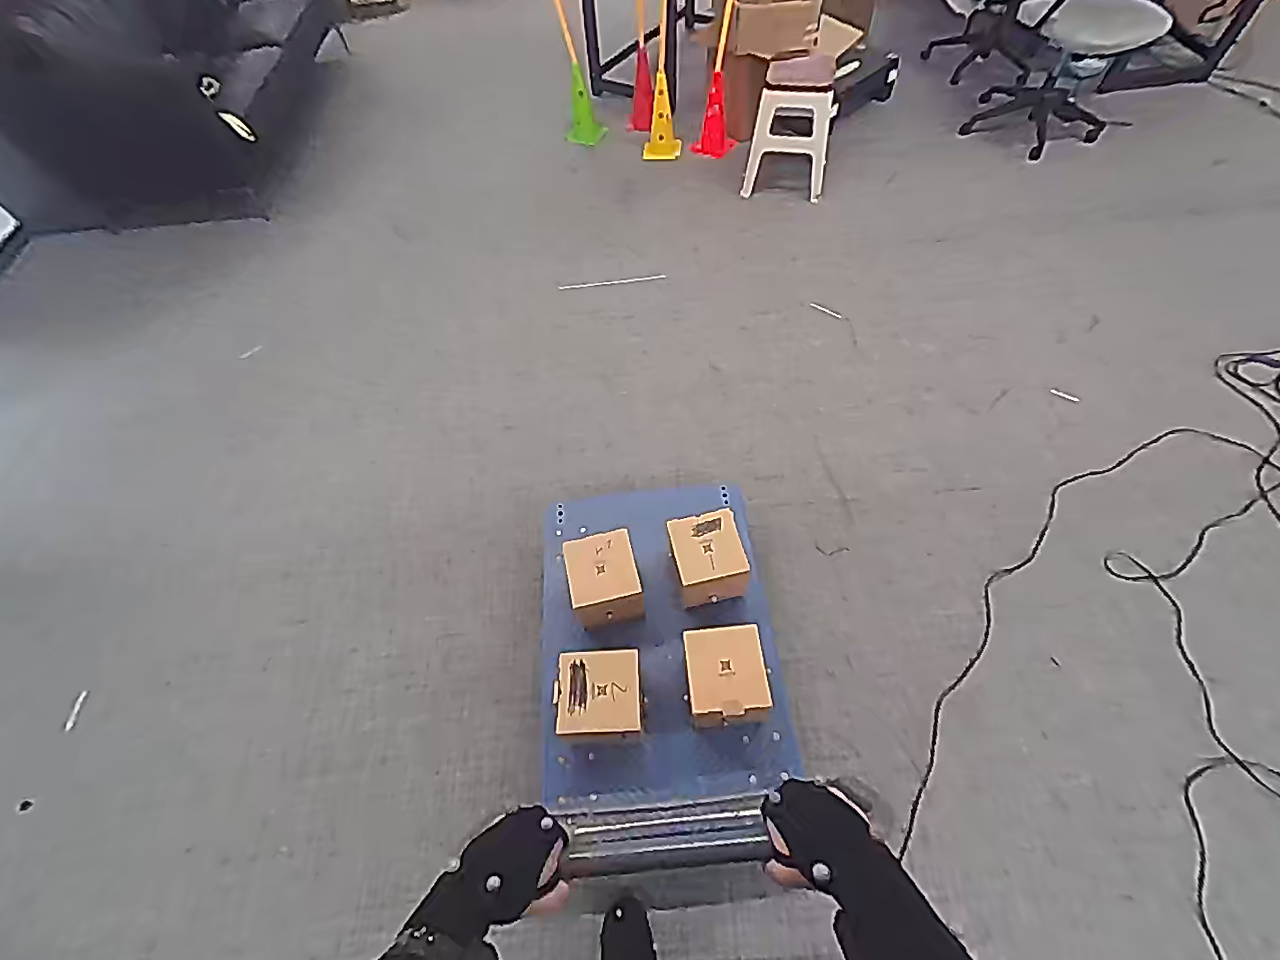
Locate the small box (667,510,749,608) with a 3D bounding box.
[{"bbox_3d":[0.165,0.202,1.373,0.168,0.176,0.179,-12,58,-3],"label":"small box"}]

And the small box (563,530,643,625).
[{"bbox_3d":[-0.090,0.252,1.360,0.168,0.176,0.179,-12,58,-5],"label":"small box"}]

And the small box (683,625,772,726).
[{"bbox_3d":[0.188,0.443,1.220,0.168,0.176,0.179,-6,58,0],"label":"small box"}]
